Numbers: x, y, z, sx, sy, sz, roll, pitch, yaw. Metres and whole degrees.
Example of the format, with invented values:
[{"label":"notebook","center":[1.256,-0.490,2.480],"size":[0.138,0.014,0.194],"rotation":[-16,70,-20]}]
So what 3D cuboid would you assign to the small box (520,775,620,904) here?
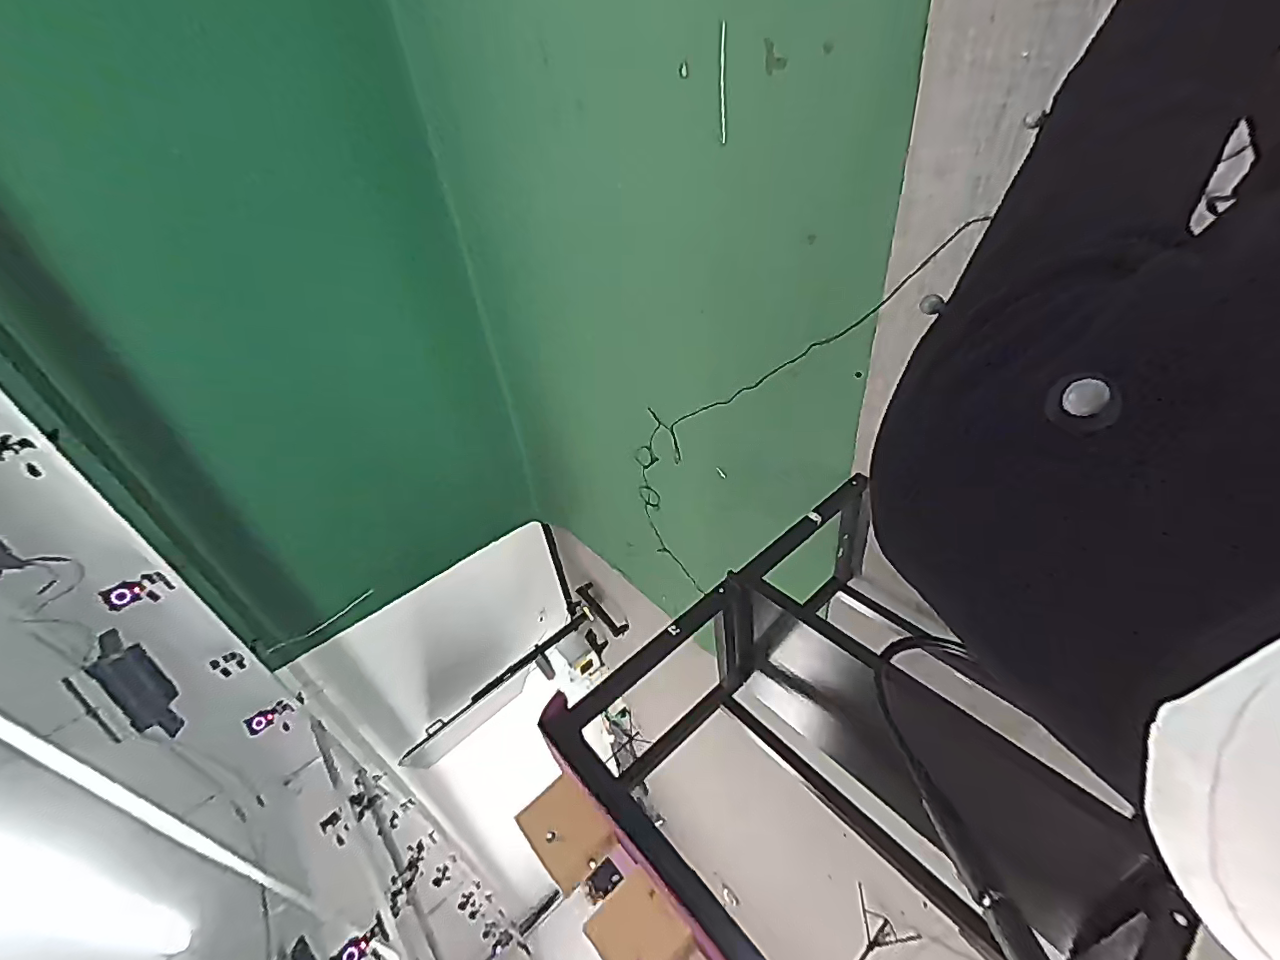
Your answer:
[{"label":"small box","center":[-0.161,0.869,1.316],"size":[0.179,0.176,0.168],"rotation":[34,143,37]}]
